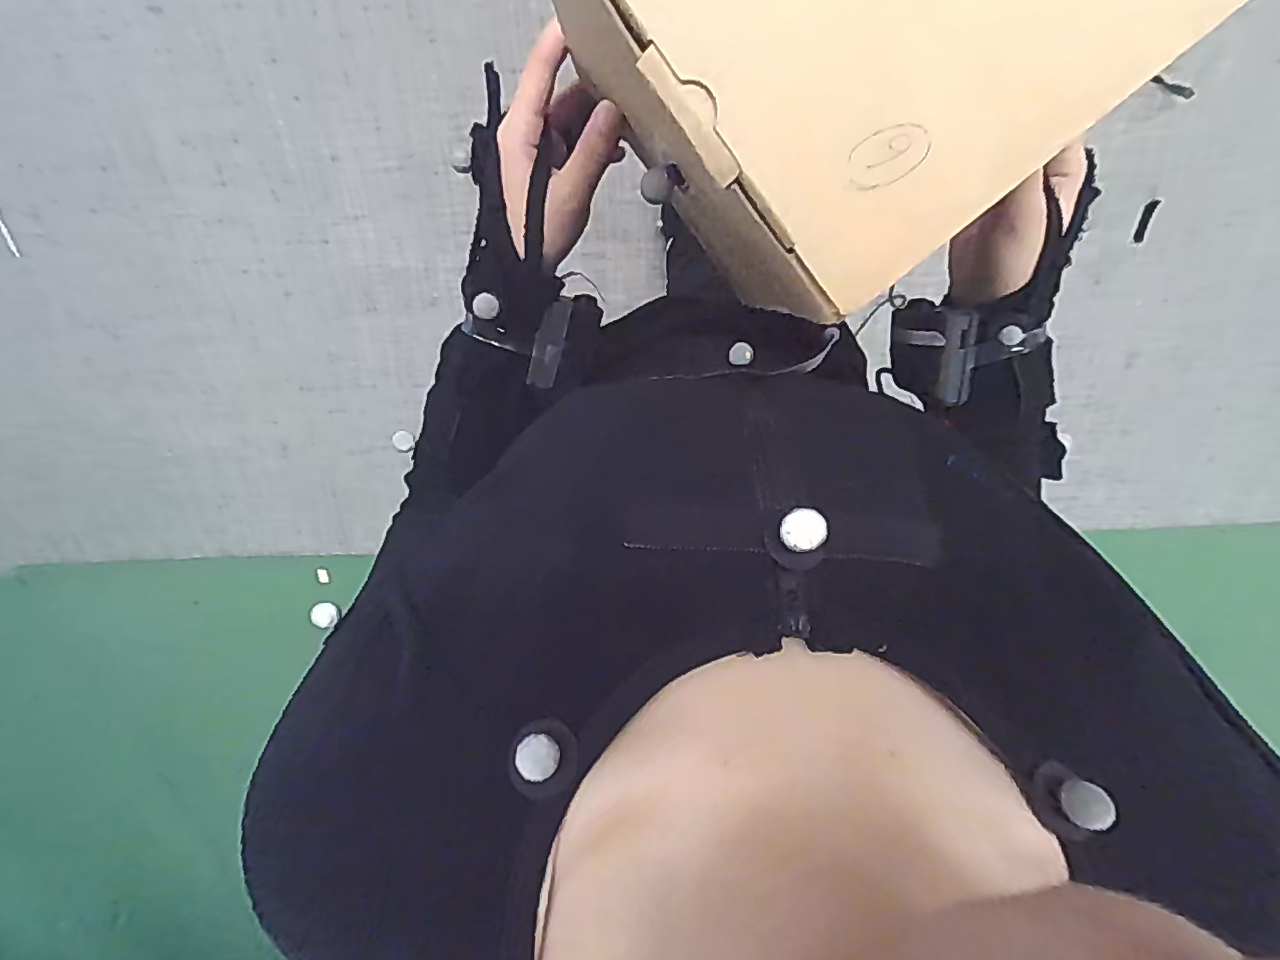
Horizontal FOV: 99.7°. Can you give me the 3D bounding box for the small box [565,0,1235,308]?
[{"bbox_3d":[0.081,-0.193,0.223,0.179,0.176,0.168,-38,104,13],"label":"small box"}]
